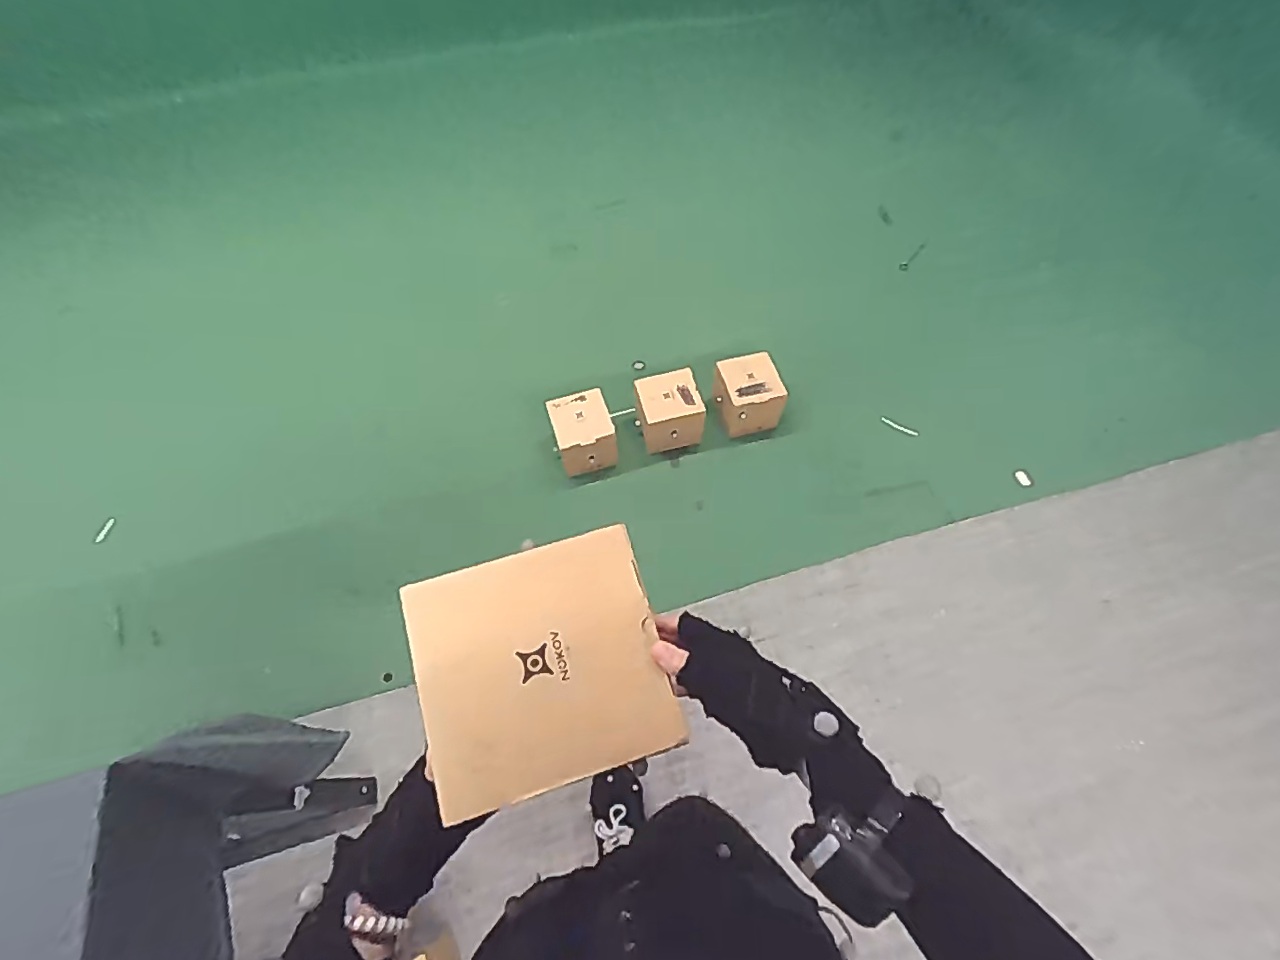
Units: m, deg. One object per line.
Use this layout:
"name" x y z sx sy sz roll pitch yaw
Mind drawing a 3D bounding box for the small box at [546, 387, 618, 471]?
"small box" -0.168 -0.142 1.604 0.168 0.176 0.179 -16 64 -7

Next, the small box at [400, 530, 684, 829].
"small box" -0.076 0.160 0.462 0.179 0.176 0.168 -16 74 -8

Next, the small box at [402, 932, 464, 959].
"small box" -0.427 0.996 1.002 0.179 0.176 0.168 -26 65 -12
